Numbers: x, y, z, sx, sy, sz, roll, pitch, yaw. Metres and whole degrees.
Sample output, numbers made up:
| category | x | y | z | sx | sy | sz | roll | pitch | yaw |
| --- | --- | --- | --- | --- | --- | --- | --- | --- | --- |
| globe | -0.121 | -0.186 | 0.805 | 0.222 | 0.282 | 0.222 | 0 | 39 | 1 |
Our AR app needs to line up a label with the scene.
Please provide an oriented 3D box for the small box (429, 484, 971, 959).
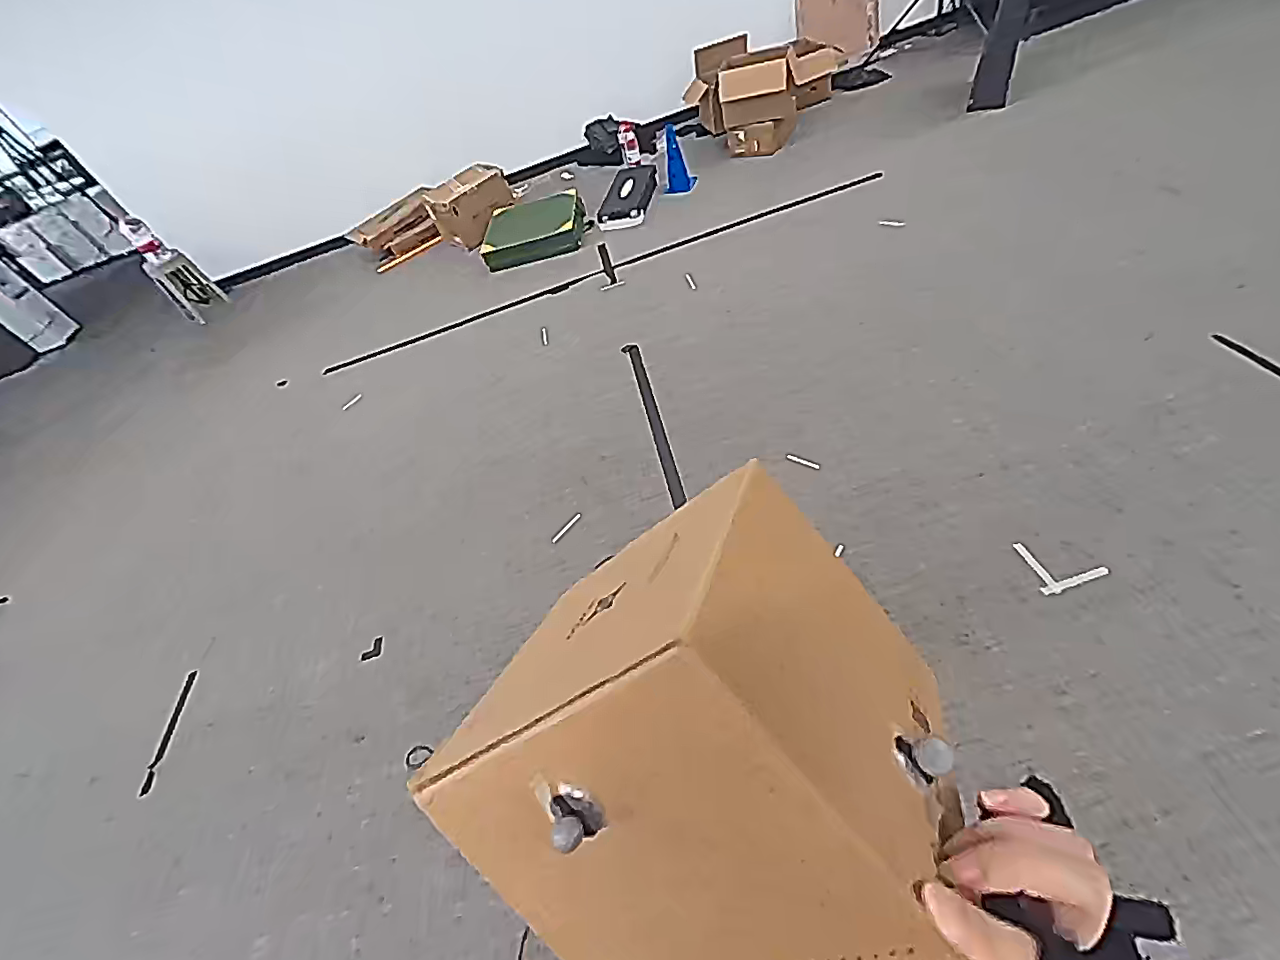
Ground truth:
| category | x | y | z | sx | sy | sz | roll | pitch | yaw |
| --- | --- | --- | --- | --- | --- | --- | --- | --- | --- |
| small box | 0.034 | 0.139 | 0.295 | 0.179 | 0.176 | 0.168 | -38 | 6 | 28 |
